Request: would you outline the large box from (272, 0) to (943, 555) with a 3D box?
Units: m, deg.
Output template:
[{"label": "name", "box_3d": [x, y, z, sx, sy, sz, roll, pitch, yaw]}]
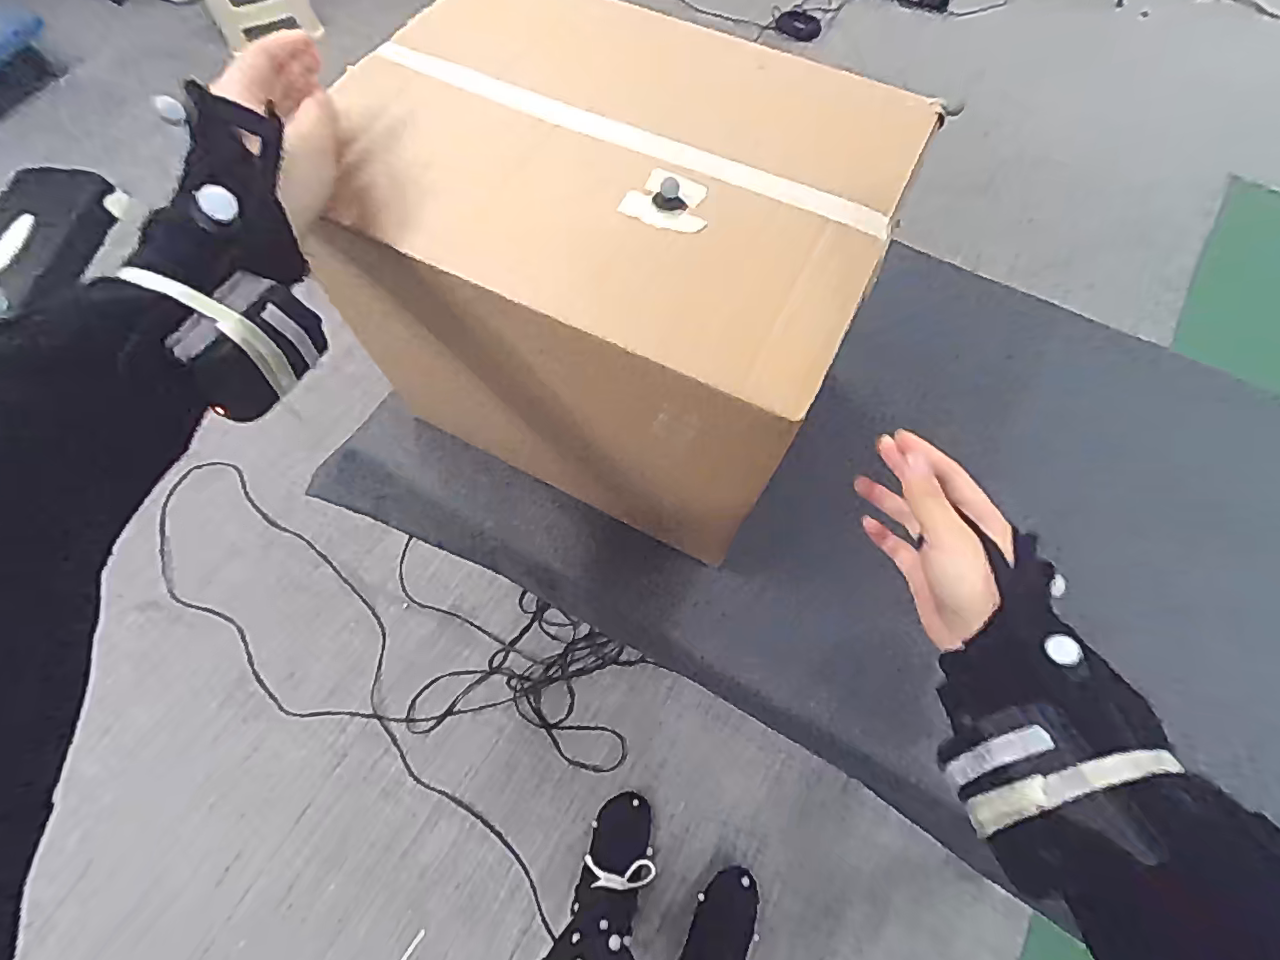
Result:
[{"label": "large box", "box_3d": [-0.014, -0.180, 0.528, 0.408, 0.320, 0.320, 26, 69, 9]}]
